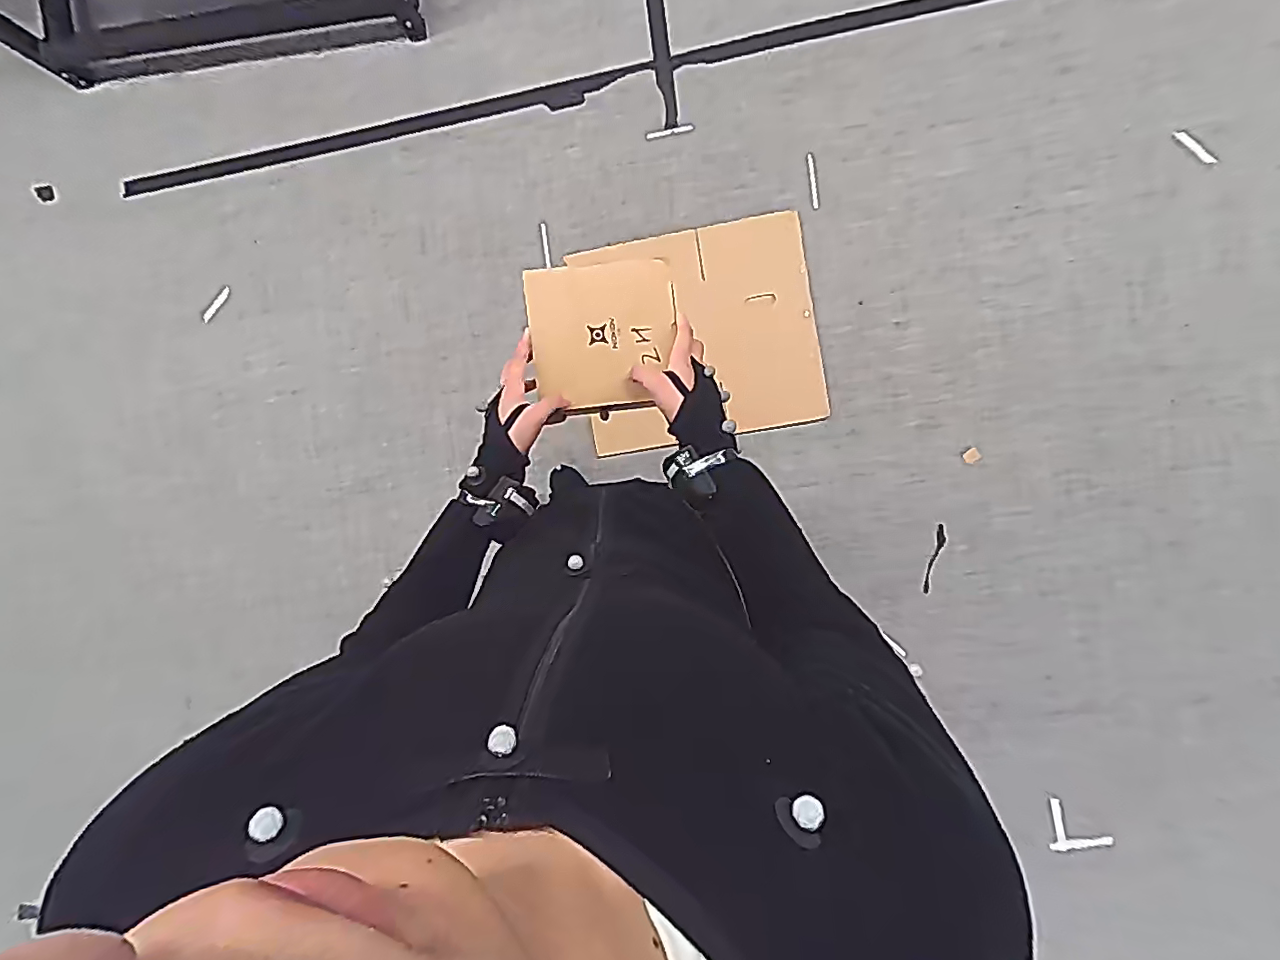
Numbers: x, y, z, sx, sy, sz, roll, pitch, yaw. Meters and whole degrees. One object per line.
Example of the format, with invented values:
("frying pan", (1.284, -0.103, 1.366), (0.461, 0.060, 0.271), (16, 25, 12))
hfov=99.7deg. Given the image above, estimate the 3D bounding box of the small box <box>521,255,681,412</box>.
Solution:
("small box", (-0.049, -0.180, 0.711), (0.179, 0.176, 0.168), (-6, 96, -4))
